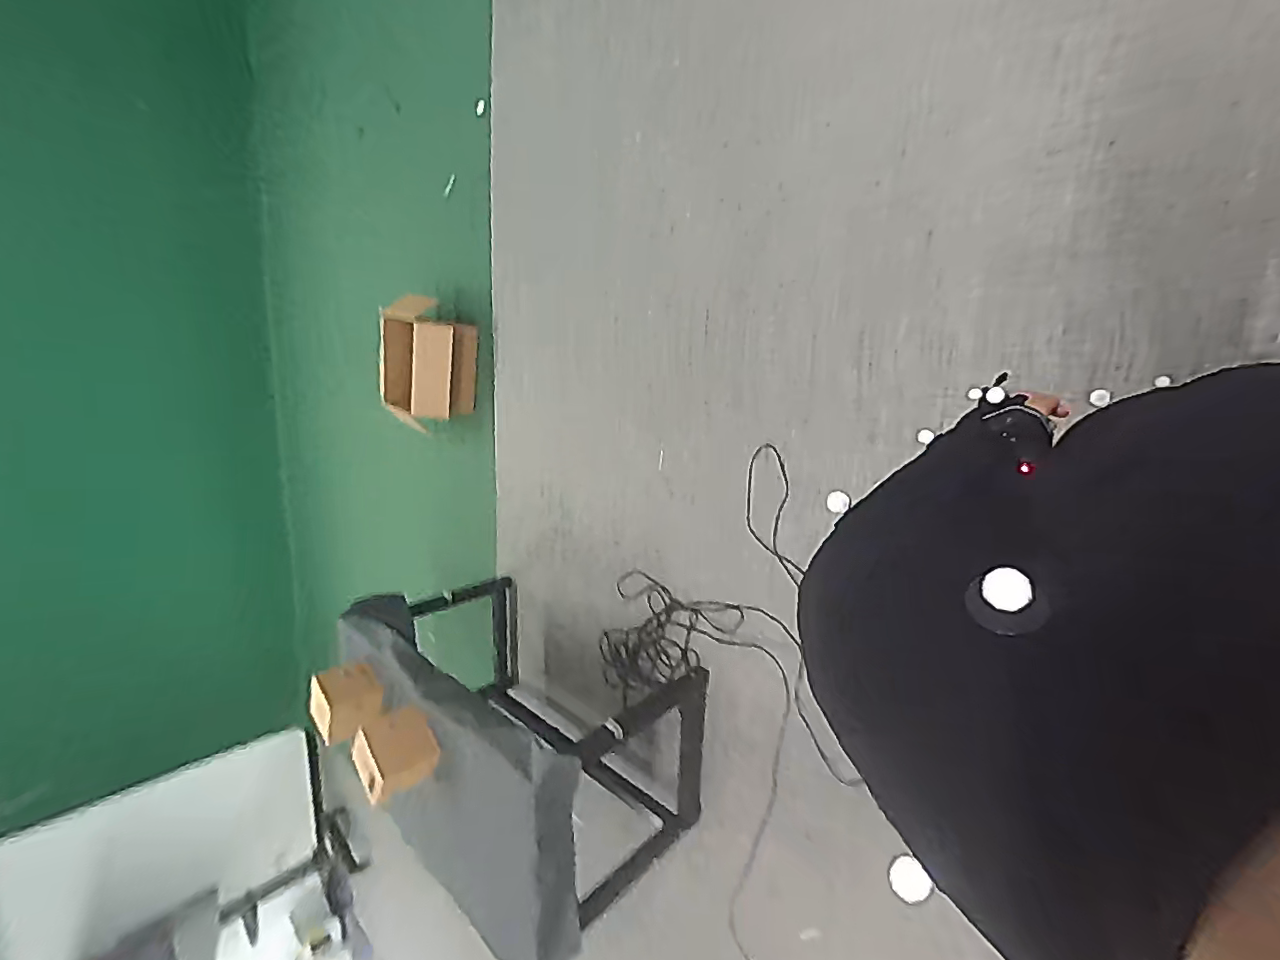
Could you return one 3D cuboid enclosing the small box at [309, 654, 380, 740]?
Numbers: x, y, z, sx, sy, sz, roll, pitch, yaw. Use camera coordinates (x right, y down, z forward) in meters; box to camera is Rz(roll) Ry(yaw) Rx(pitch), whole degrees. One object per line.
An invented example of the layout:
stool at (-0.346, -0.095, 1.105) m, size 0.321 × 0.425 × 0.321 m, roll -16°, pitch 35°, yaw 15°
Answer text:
small box at (-0.993, 0.722, 1.821) m, size 0.168 × 0.176 × 0.179 m, roll 35°, pitch 120°, yaw 35°
